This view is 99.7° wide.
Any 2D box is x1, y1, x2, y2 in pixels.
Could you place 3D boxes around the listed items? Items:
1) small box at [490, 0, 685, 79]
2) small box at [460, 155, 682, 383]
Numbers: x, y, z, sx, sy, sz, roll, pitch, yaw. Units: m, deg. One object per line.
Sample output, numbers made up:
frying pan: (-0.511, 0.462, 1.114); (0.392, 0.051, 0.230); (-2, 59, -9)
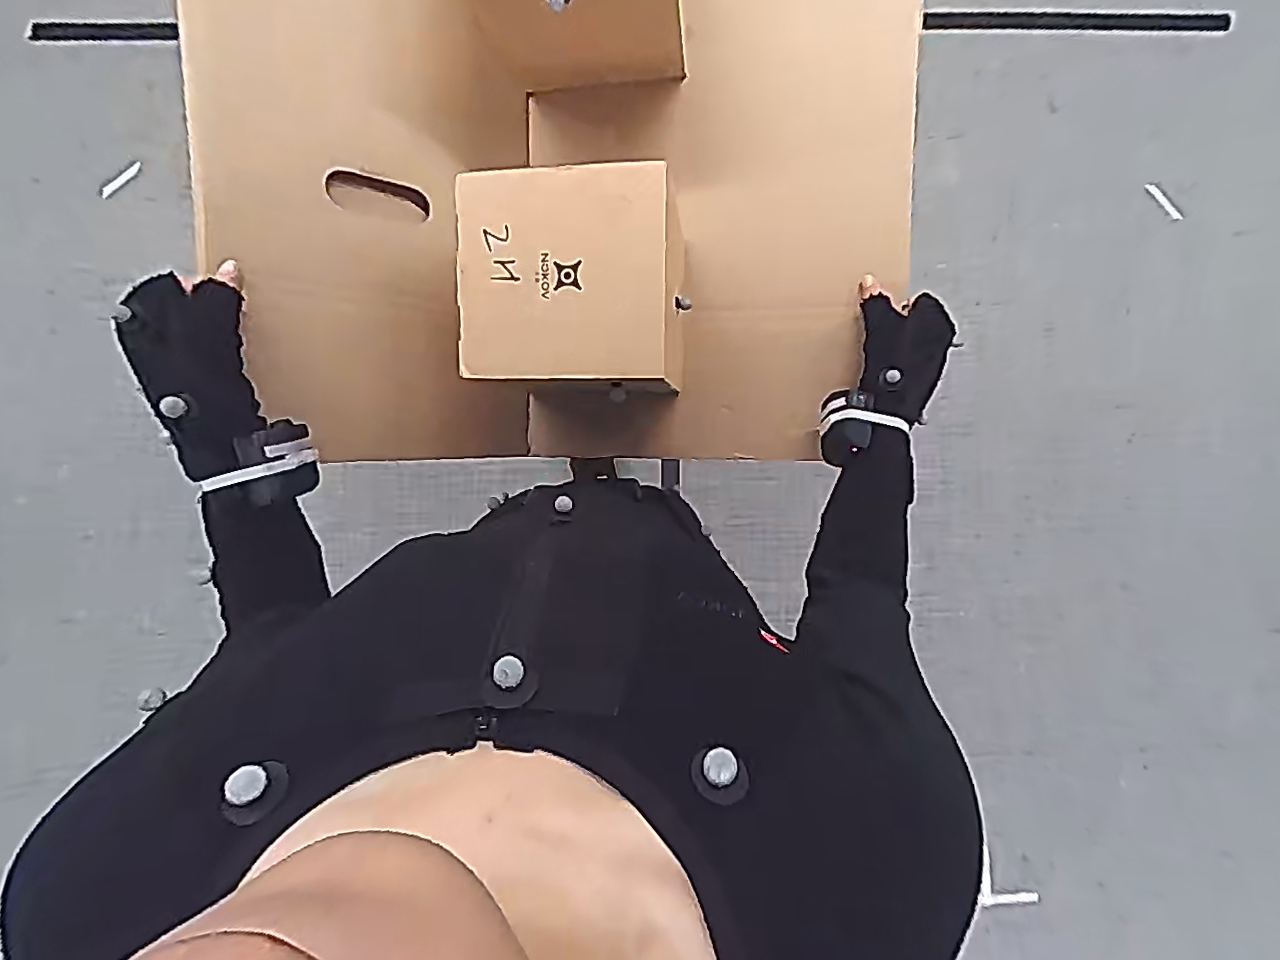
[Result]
small box: (-0.052, -0.502, 0.489); (0.179, 0.176, 0.168); (1, 96, 8)
small box: (-0.053, -0.185, 0.520); (0.179, 0.176, 0.168); (2, 96, 9)
